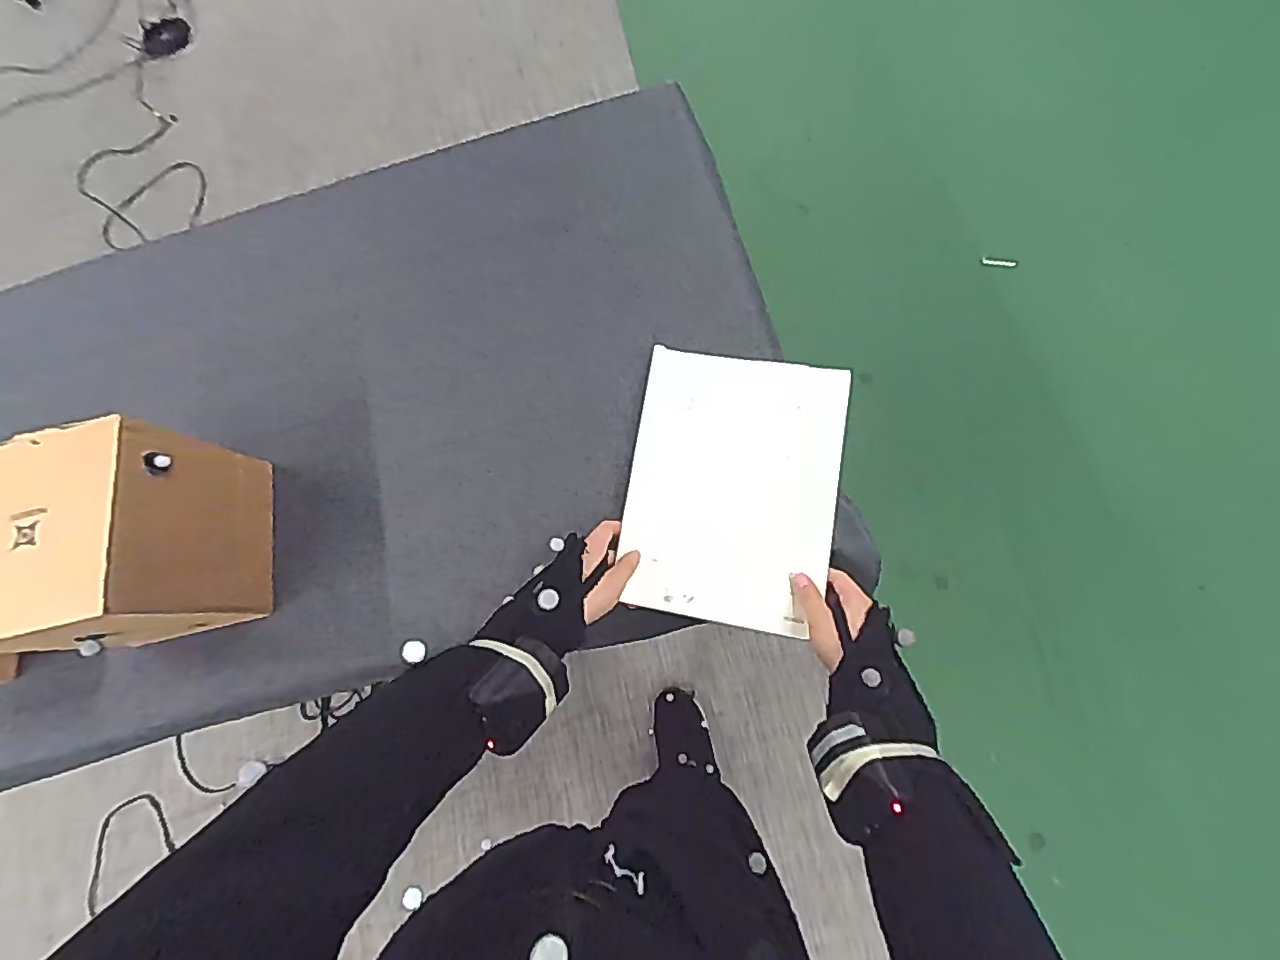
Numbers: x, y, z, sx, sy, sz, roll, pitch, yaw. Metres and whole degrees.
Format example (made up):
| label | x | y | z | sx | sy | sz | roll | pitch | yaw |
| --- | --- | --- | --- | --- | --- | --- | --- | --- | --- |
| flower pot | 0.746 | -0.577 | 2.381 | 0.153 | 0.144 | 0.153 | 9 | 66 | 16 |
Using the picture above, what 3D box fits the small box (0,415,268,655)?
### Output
| label | x | y | z | sx | sy | sz | roll | pitch | yaw |
| --- | --- | --- | --- | --- | --- | --- | --- | --- | --- |
| small box | -0.492 | 0.063 | 0.516 | 0.168 | 0.176 | 0.179 | -13 | 73 | 5 |
